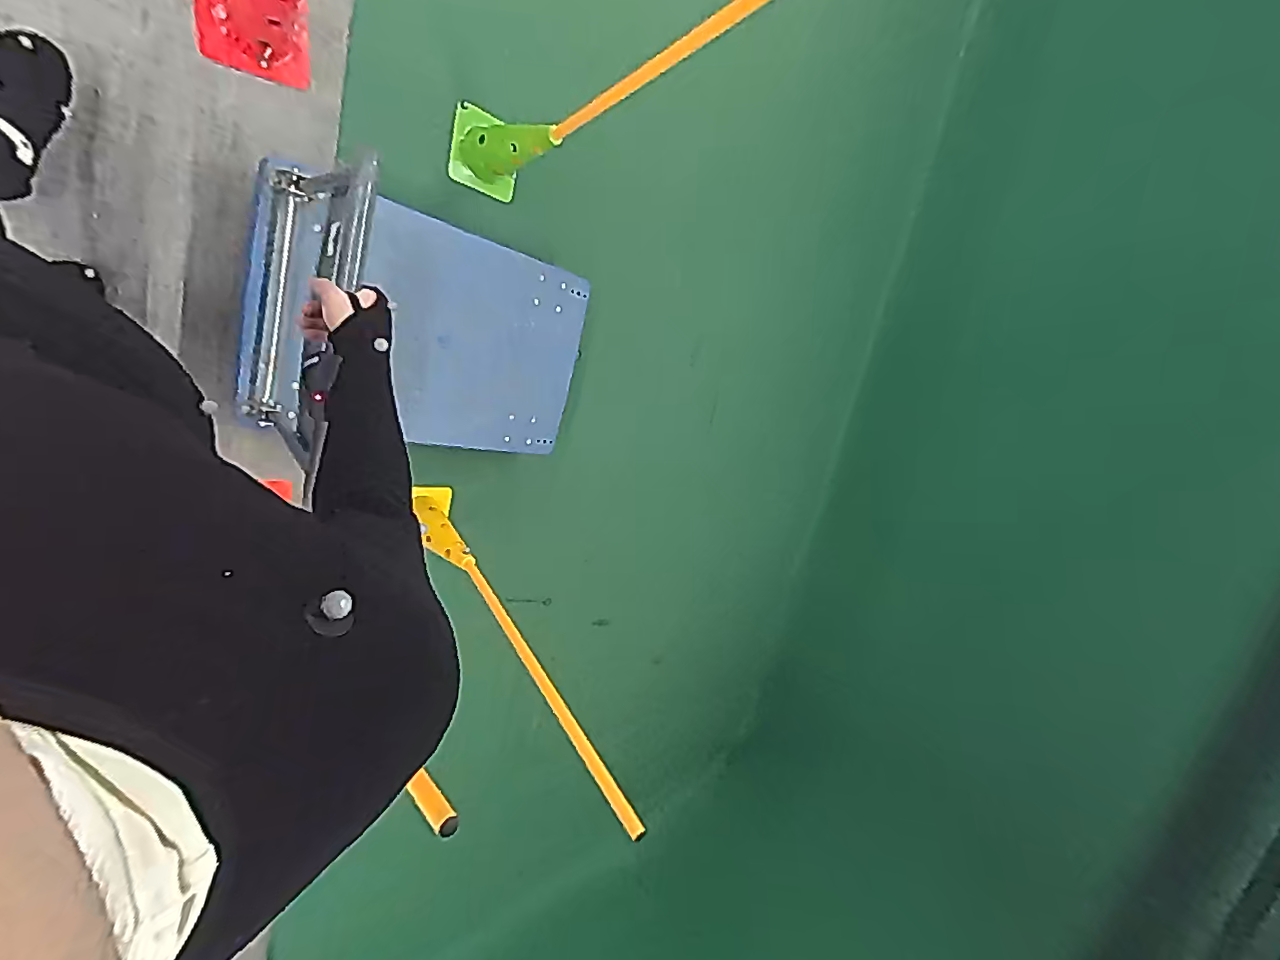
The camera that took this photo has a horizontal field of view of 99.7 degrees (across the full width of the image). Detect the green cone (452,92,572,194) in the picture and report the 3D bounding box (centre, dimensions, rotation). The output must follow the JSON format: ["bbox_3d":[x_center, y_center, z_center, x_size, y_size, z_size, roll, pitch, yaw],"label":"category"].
[{"bbox_3d":[-0.304,-0.880,1.395,0.202,0.368,0.200,1,107,-46],"label":"green cone"}]
